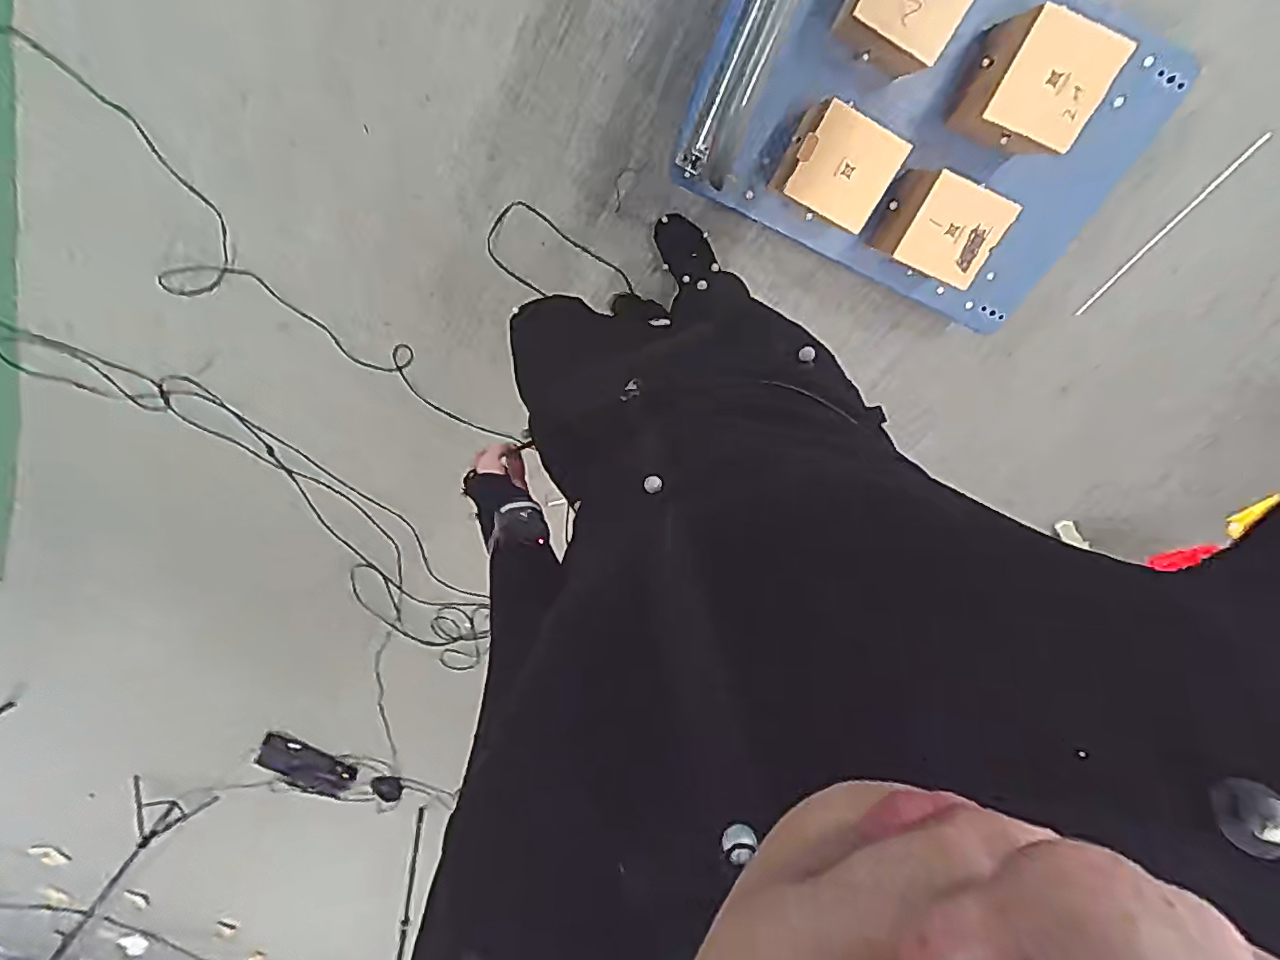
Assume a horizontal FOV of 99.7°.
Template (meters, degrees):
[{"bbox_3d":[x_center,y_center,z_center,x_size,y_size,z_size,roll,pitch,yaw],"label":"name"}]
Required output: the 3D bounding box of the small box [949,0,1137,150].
[{"bbox_3d":[0.706,-0.715,0.976,0.179,0.176,0.168,18,121,-7],"label":"small box"}]

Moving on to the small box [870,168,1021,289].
[{"bbox_3d":[0.609,-0.517,1.101,0.179,0.176,0.168,21,119,-8],"label":"small box"}]

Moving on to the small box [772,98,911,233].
[{"bbox_3d":[0.382,-0.614,1.061,0.179,0.176,0.168,24,119,-9],"label":"small box"}]
